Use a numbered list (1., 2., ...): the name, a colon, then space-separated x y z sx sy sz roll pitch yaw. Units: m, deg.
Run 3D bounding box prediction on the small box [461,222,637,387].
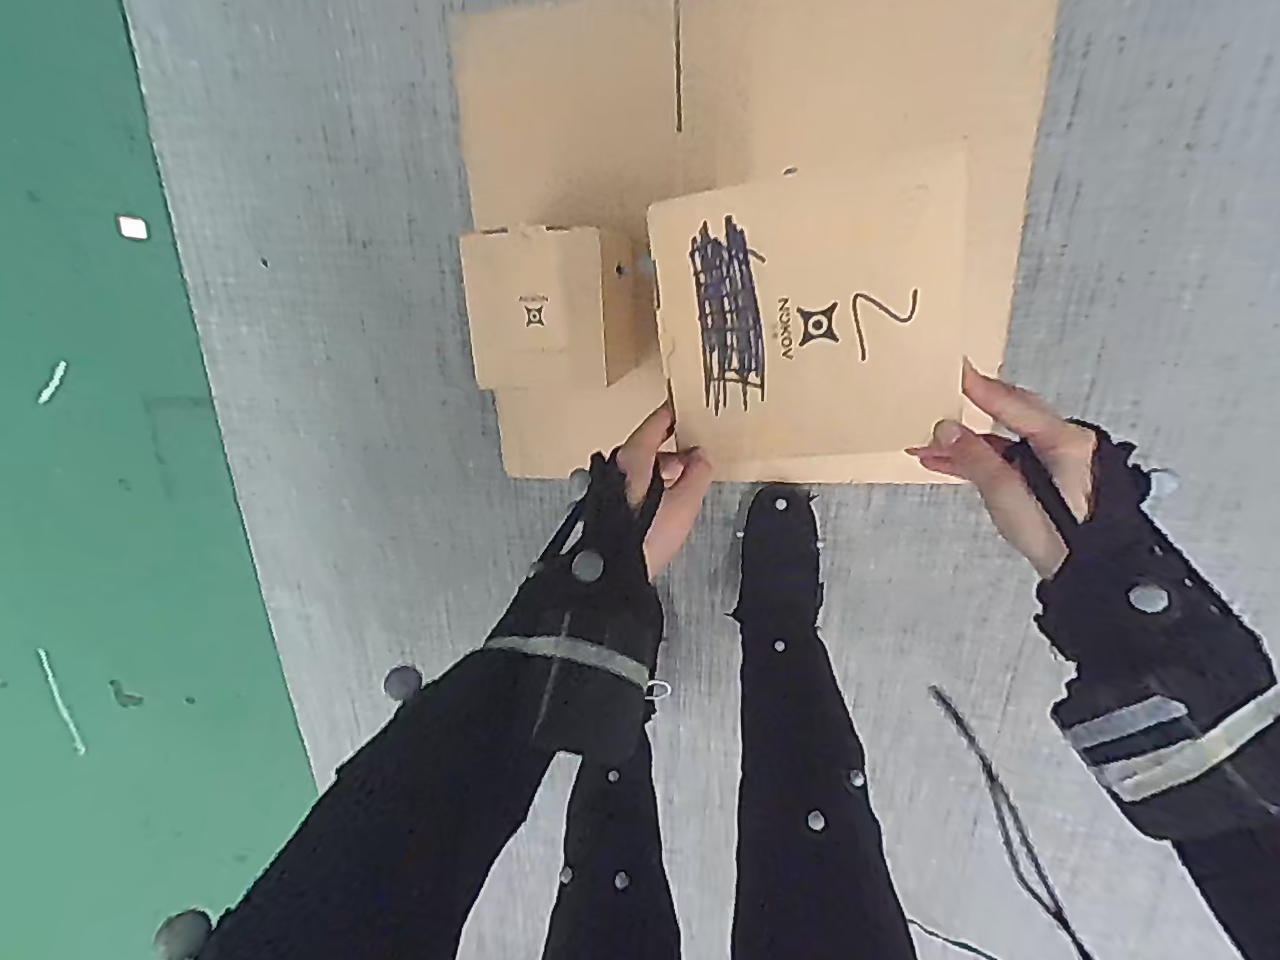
1. small box: -0.101 -0.217 0.682 0.168 0.176 0.179 2 110 12
